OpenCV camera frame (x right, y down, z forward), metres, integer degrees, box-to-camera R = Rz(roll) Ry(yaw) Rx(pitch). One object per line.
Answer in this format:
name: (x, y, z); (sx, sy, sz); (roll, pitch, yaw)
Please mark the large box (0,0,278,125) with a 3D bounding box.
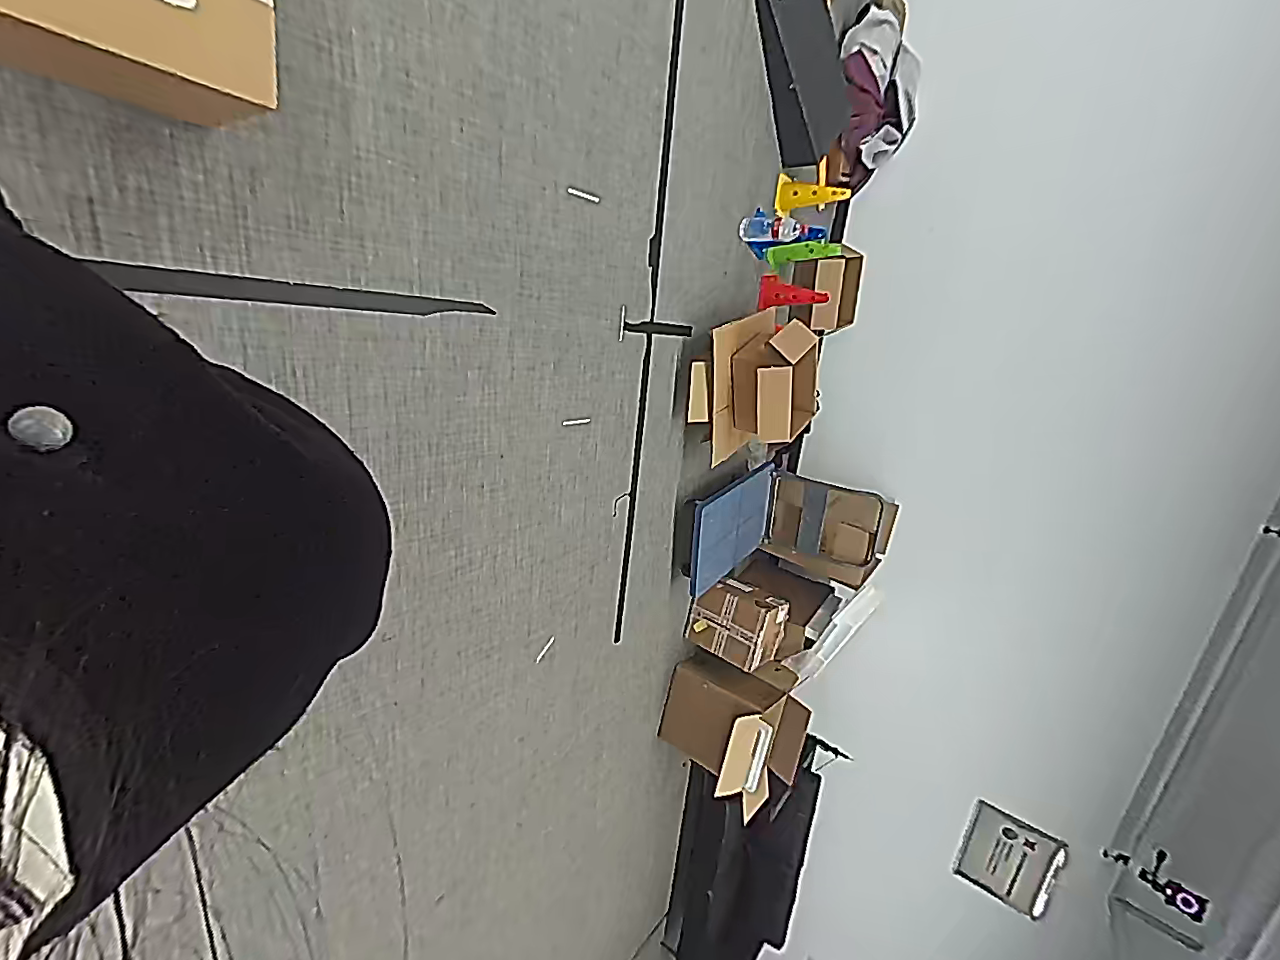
large box: (-0.835, -0.787, 0.804); (0.408, 0.320, 0.320); (-13, 116, -53)
